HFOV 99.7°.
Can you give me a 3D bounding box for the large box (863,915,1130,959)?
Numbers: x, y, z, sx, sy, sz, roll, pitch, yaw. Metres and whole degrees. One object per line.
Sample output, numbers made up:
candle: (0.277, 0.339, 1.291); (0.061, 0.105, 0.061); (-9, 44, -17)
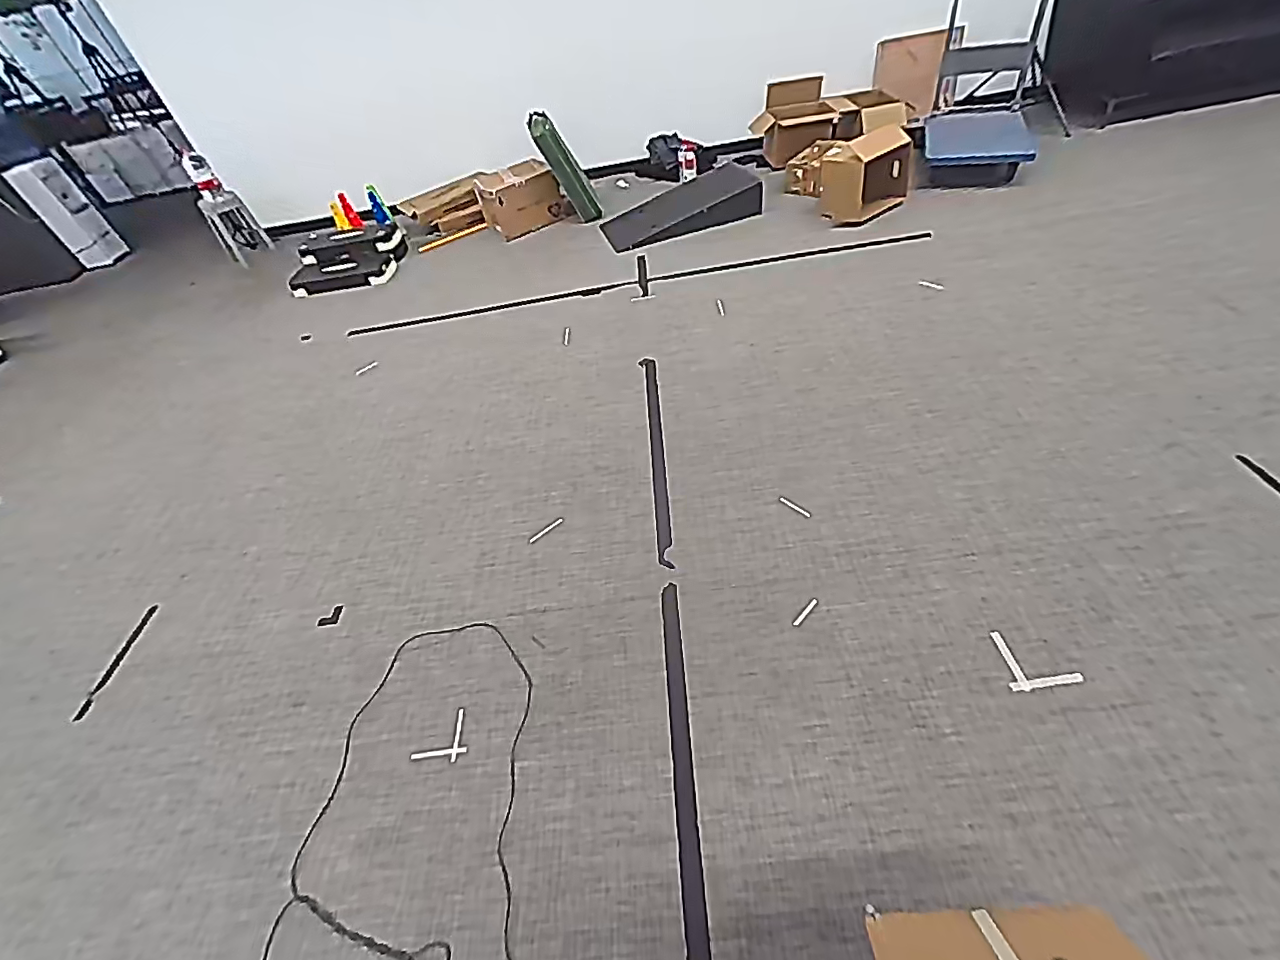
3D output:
large box: (0.463, 0.751, 0.556); (0.320, 0.408, 0.320); (-8, 81, 9)
